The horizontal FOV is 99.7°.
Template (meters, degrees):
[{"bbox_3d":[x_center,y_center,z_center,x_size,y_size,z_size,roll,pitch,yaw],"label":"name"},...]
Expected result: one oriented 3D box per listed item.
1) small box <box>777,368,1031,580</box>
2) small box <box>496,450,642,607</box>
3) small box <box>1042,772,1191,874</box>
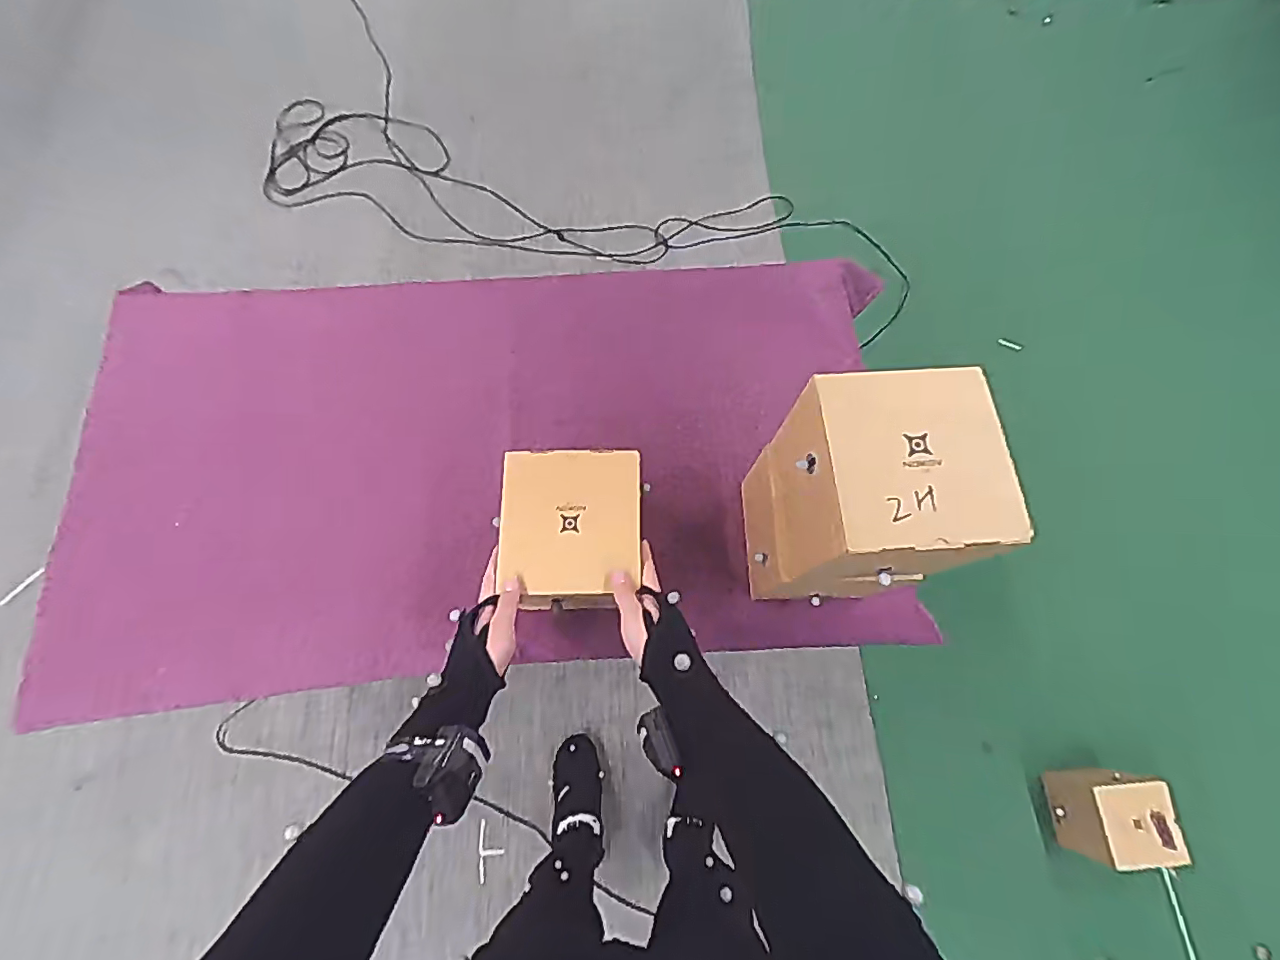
[{"bbox_3d":[0.250,0.002,0.564,0.168,0.176,0.179,-2,71,-1],"label":"small box"},{"bbox_3d":[-0.081,0.072,0.707,0.168,0.176,0.179,0,70,-1],"label":"small box"},{"bbox_3d":[1.106,0.796,1.271,0.179,0.176,0.168,-3,71,-2],"label":"small box"}]
